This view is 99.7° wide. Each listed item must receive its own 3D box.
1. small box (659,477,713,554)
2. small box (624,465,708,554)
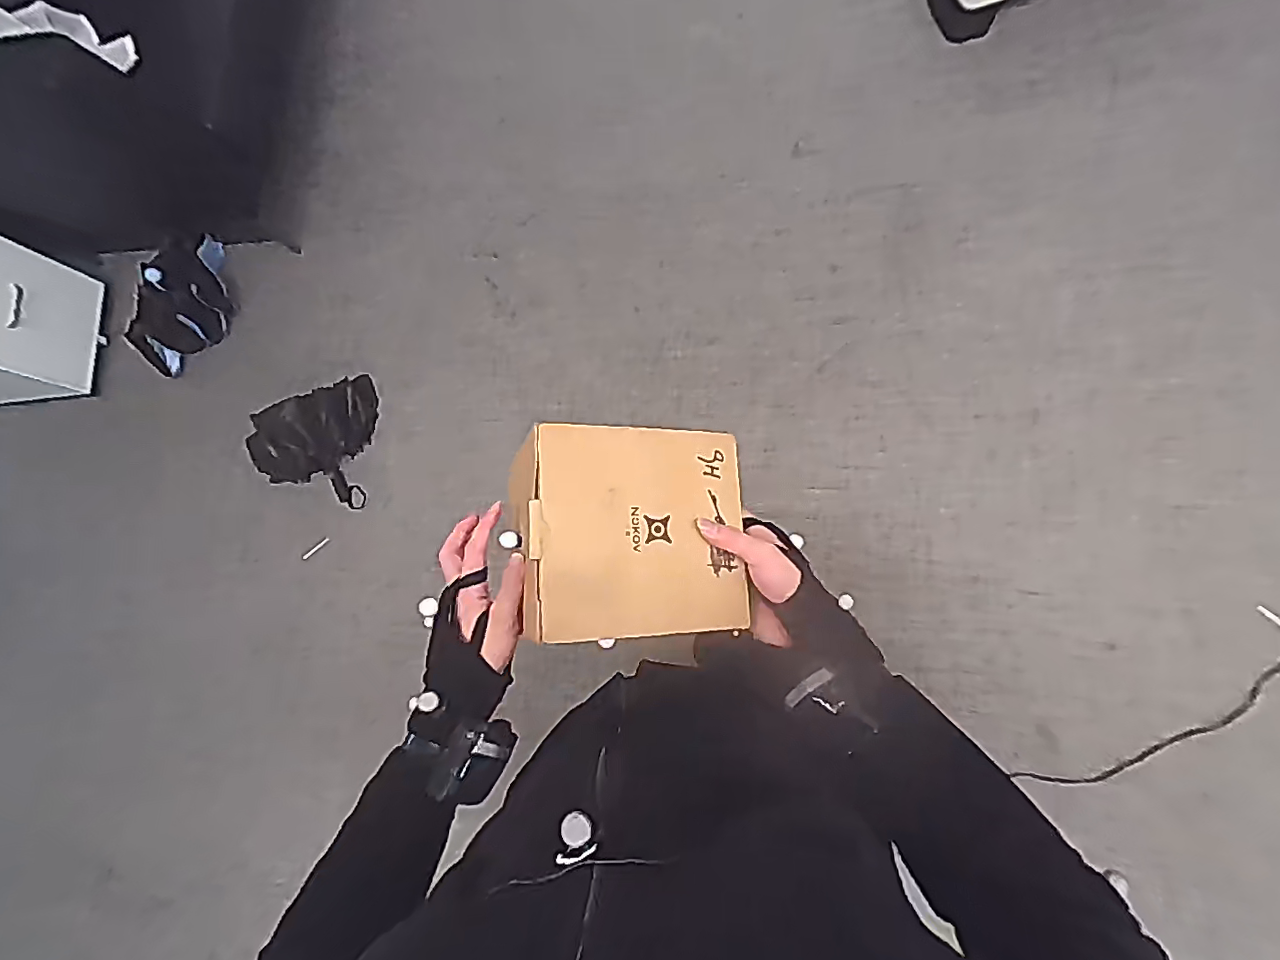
[{"bbox_3d":[0.095,0.094,1.372,0.168,0.176,0.179,-4,81,11],"label":"small box"},{"bbox_3d":[0.061,0.072,1.213,0.168,0.176,0.179,-4,80,11],"label":"small box"}]
